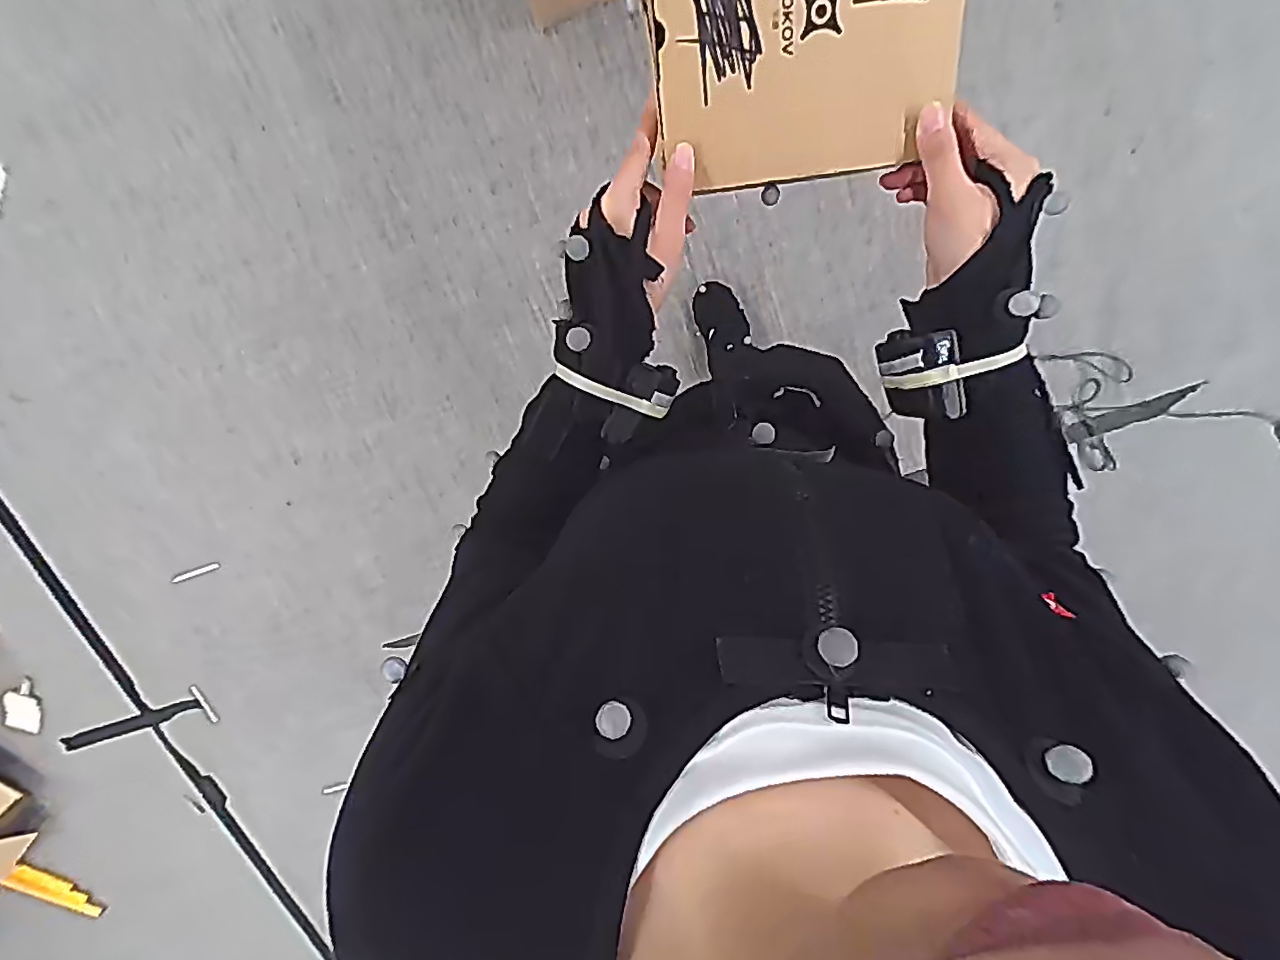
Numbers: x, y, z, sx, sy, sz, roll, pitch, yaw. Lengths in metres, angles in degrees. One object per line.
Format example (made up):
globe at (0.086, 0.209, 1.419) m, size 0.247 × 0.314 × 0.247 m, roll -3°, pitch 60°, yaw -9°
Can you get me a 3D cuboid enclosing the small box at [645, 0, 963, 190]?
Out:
small box at (0.093, -0.303, 0.370) m, size 0.179 × 0.176 × 0.168 m, roll -6°, pitch 116°, yaw 3°
